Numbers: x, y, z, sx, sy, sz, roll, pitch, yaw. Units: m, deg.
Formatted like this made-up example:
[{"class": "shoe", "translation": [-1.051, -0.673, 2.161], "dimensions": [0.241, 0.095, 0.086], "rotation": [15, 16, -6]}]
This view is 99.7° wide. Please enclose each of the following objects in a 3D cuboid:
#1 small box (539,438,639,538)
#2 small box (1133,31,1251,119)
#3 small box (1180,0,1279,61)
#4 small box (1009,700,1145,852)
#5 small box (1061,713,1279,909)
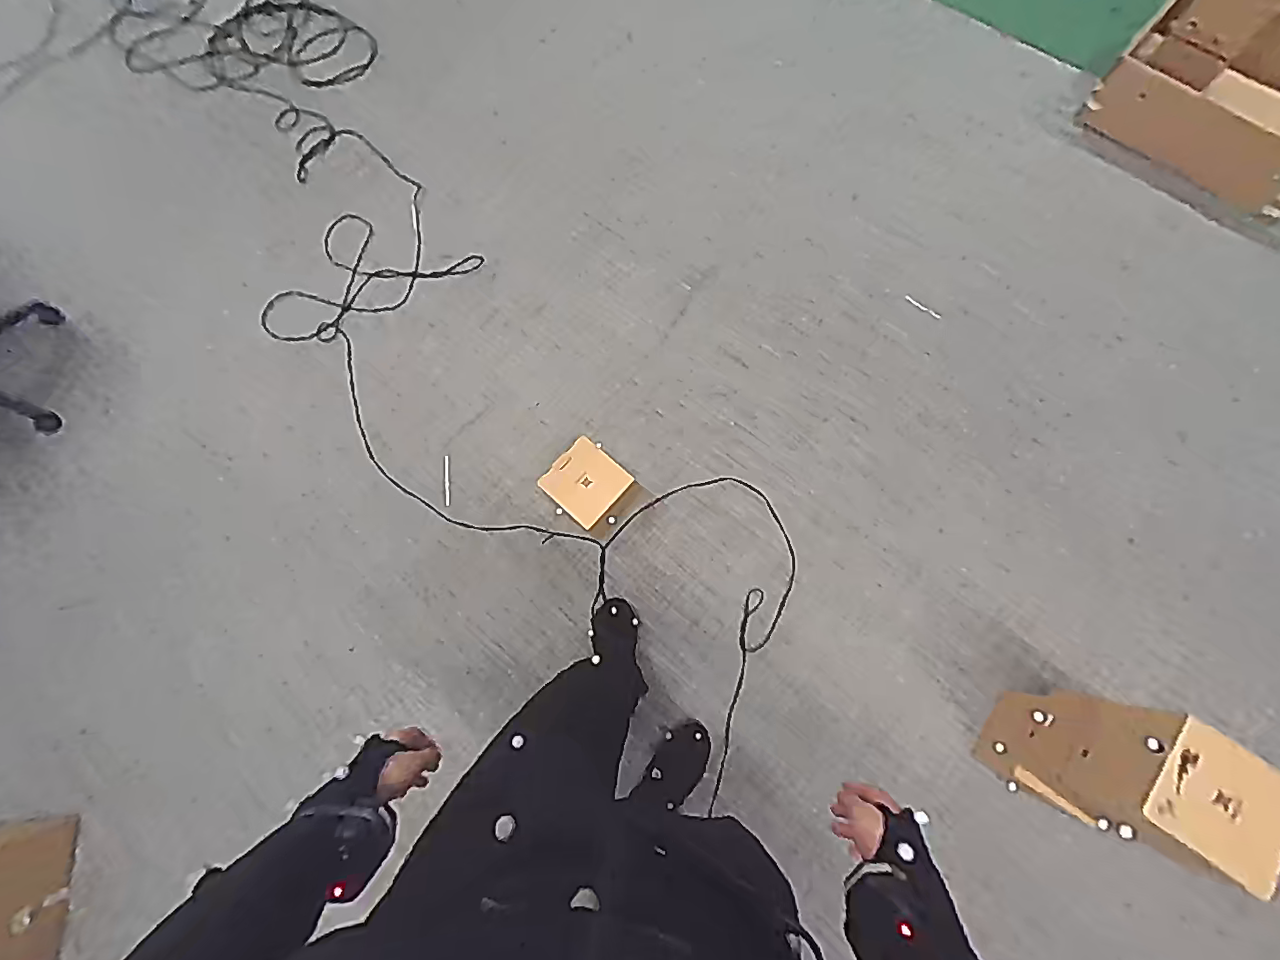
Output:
[{"class": "small box", "translation": [-0.119, 0.029, 1.350], "dimensions": [0.179, 0.176, 0.168], "rotation": [40, 81, 14]}, {"class": "small box", "translation": [1.540, -1.161, 1.500], "dimensions": [0.168, 0.176, 0.179], "rotation": [38, 81, 13]}, {"class": "small box", "translation": [1.517, -1.198, 1.341], "dimensions": [0.168, 0.176, 0.179], "rotation": [40, 81, 12]}, {"class": "small box", "translation": [0.834, 0.524, 0.984], "dimensions": [0.179, 0.176, 0.168], "rotation": [37, 79, 14]}, {"class": "small box", "translation": [0.814, 0.483, 0.827], "dimensions": [0.179, 0.176, 0.168], "rotation": [37, 79, 12]}]
